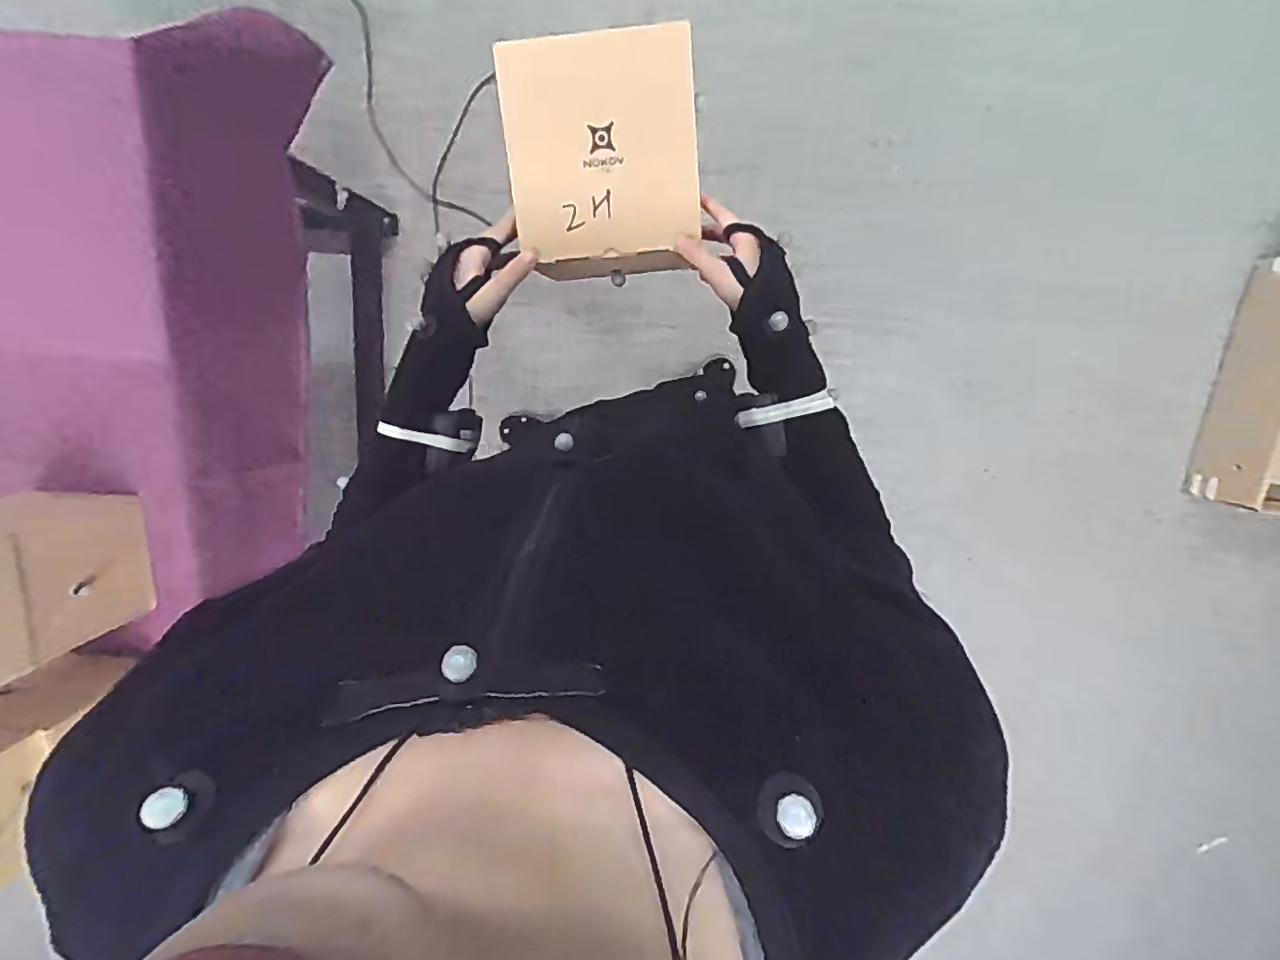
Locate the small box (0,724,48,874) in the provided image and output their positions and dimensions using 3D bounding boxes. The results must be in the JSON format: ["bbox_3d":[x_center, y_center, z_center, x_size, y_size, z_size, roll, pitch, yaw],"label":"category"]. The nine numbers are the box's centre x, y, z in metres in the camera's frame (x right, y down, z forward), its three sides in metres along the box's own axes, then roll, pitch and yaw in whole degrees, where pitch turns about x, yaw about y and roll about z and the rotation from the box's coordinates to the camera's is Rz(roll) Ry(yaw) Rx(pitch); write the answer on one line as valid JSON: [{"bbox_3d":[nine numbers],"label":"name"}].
[{"bbox_3d":[-0.848,0.400,0.621,0.179,0.176,0.168,1,102,4],"label":"small box"}]

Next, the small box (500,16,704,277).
[{"bbox_3d":[-0.027,-0.307,0.536,0.168,0.176,0.179,-3,106,3],"label":"small box"}]

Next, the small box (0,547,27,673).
[{"bbox_3d":[-0.819,0.147,0.563,0.168,0.176,0.179,5,103,2],"label":"small box"}]

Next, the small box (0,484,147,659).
[{"bbox_3d":[-0.817,0.113,0.725,0.168,0.176,0.179,4,102,1],"label":"small box"}]
